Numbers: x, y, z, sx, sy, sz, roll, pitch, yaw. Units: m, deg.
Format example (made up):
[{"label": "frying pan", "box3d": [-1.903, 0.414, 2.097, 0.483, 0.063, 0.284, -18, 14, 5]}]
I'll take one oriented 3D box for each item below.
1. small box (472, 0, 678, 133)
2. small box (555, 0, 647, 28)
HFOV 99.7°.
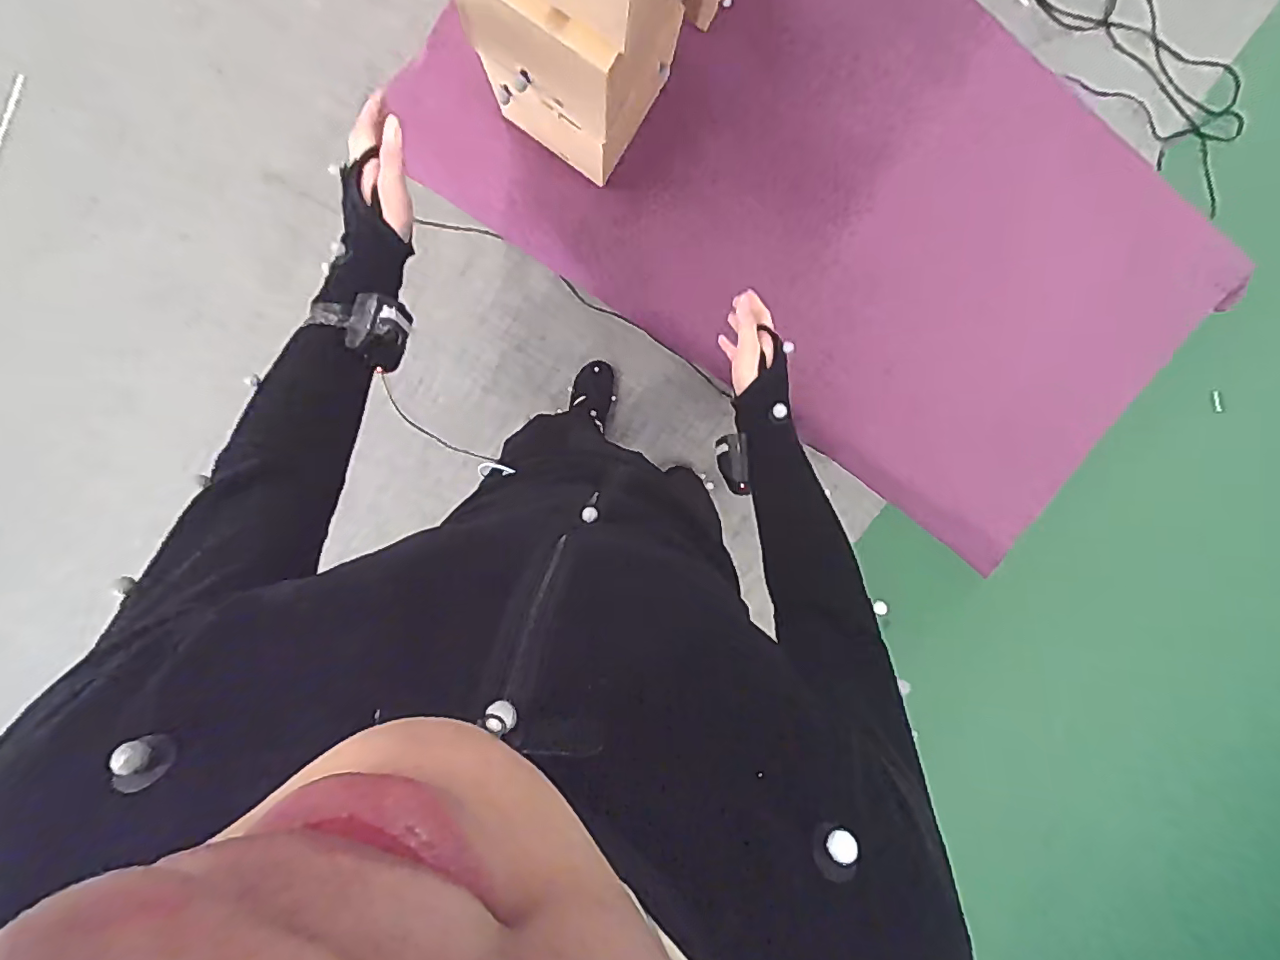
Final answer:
[{"label": "small box", "box3d": [-0.057, -0.489, 0.522, 0.168, 0.176, 0.179, 29, 100, -10]}, {"label": "small box", "box3d": [-0.038, -0.462, 0.361, 0.179, 0.176, 0.168, 28, 99, -10]}]
